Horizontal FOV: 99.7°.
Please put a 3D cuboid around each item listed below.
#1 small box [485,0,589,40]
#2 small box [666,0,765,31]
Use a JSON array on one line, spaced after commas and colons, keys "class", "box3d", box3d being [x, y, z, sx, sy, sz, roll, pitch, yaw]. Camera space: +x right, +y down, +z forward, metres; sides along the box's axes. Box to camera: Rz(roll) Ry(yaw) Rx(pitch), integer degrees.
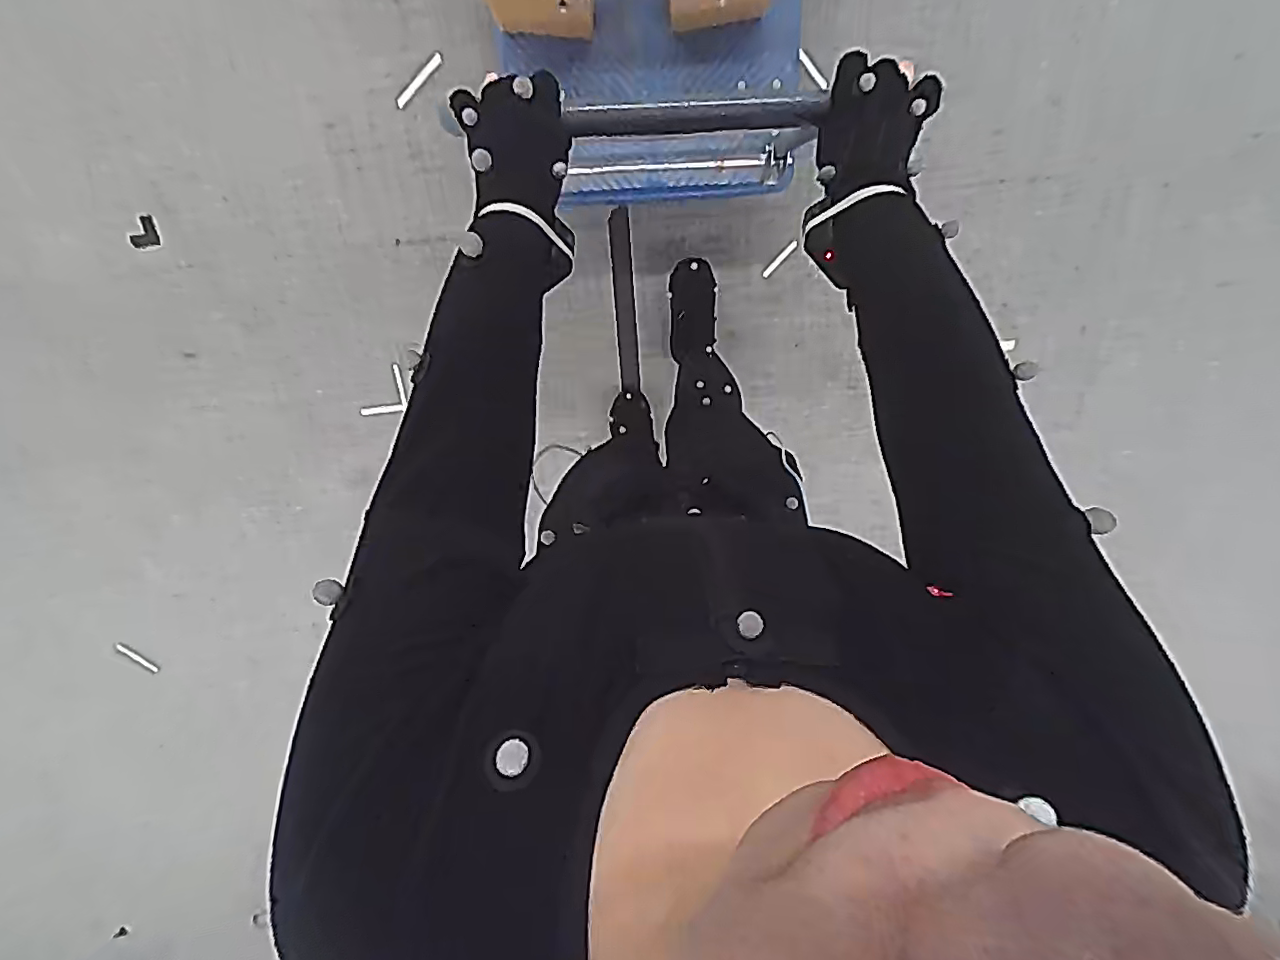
[{"class": "small box", "box3d": [-0.176, -0.876, 0.907, 0.179, 0.176, 0.168, 2, 110, -4]}, {"class": "small box", "box3d": [0.128, -0.893, 0.907, 0.179, 0.176, 0.168, -8, 111, 2]}]
